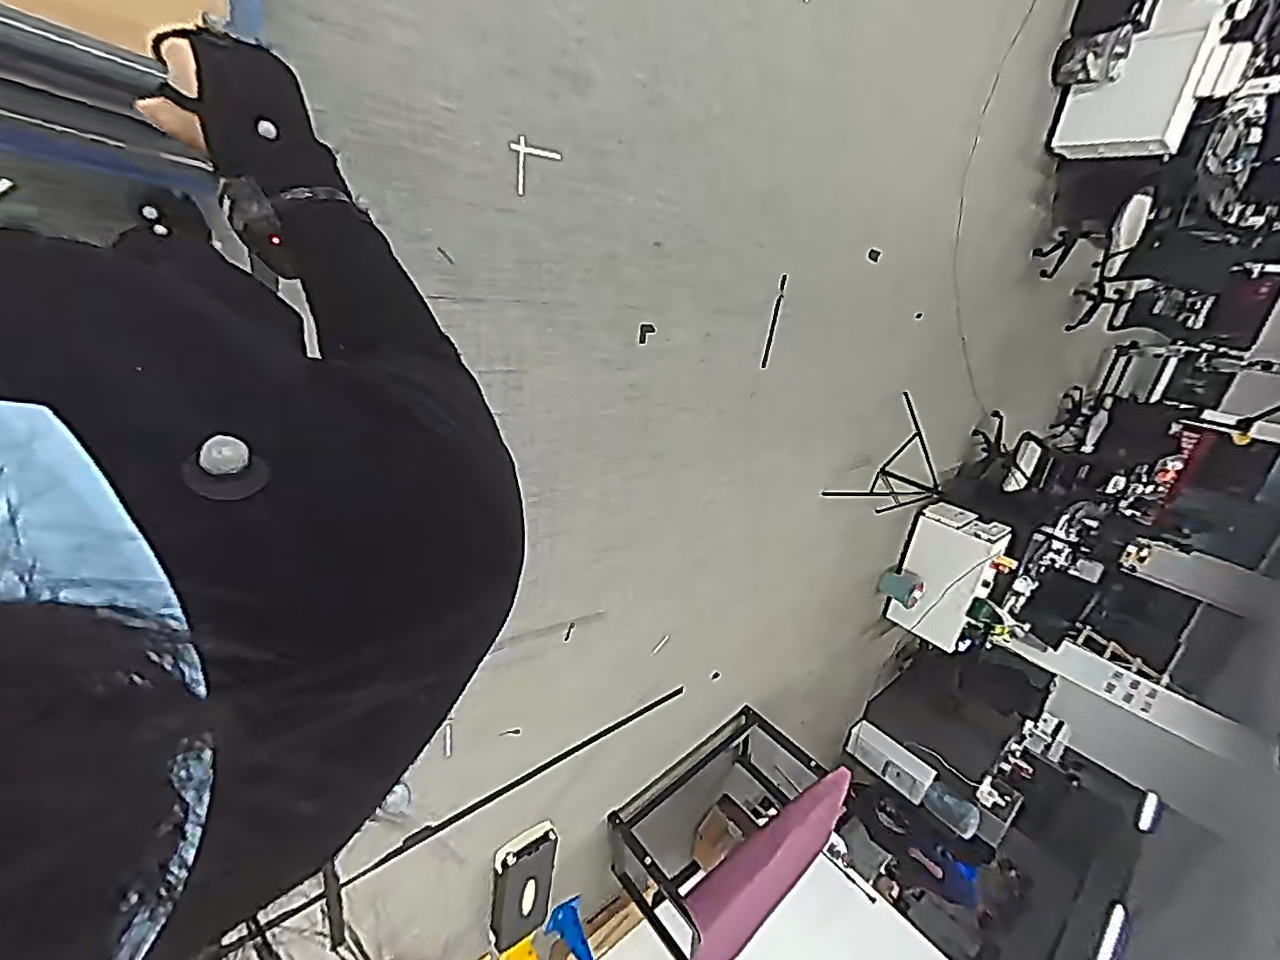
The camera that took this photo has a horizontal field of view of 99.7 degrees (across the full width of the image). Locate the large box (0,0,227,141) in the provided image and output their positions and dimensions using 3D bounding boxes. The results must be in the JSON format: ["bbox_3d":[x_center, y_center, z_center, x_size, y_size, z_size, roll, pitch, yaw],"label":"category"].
[{"bbox_3d":[-0.753,-0.646,0.629,0.408,0.320,0.320,-3,113,-43],"label":"large box"}]
